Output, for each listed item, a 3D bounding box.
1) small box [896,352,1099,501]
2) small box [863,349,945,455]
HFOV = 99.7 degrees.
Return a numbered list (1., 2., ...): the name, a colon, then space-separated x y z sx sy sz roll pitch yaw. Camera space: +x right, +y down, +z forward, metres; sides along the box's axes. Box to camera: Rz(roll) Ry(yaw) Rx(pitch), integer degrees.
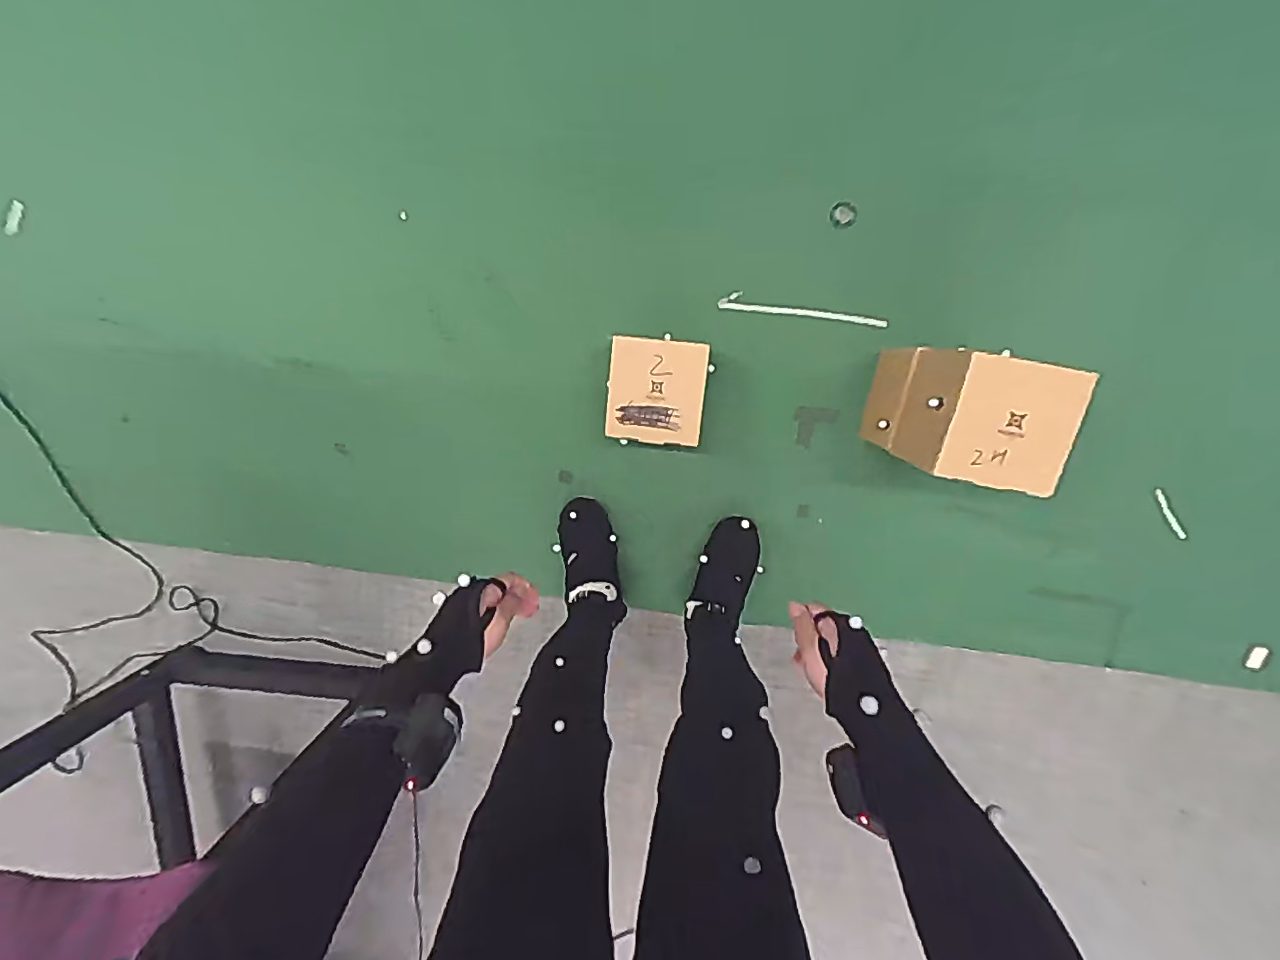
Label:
1. small box: 0.507 -0.088 0.800 0.168 0.176 0.179 12 105 2
2. small box: 0.518 -0.132 0.959 0.168 0.176 0.179 10 105 2
